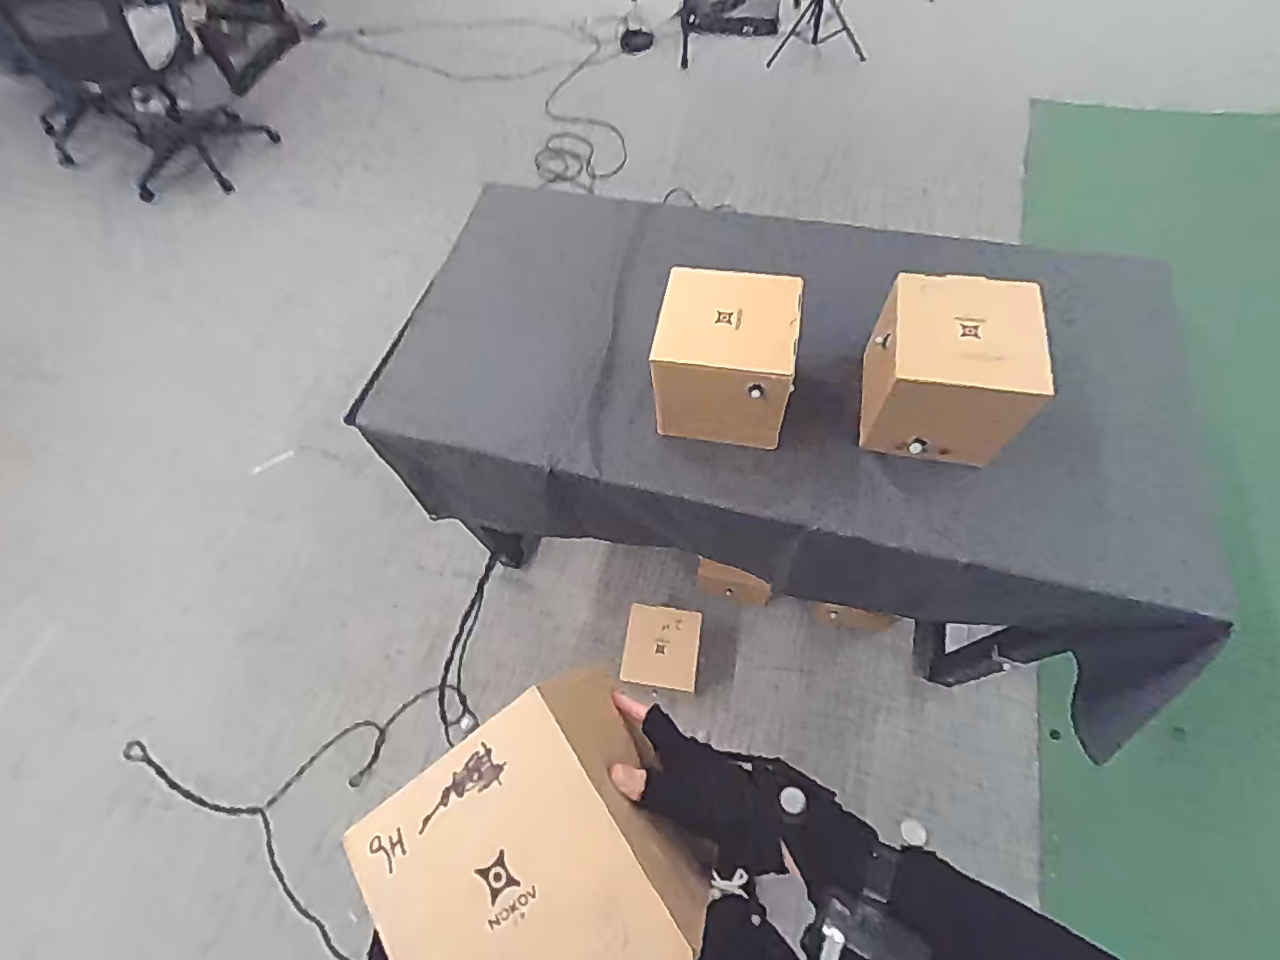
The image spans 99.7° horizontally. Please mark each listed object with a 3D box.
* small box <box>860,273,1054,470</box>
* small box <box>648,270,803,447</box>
[{"bbox_3d":[0.396,-0.138,0.706,0.168,0.176,0.179,10,64,11],"label":"small box"},{"bbox_3d":[0.117,-0.161,0.745,0.179,0.176,0.168,8,63,9],"label":"small box"}]
